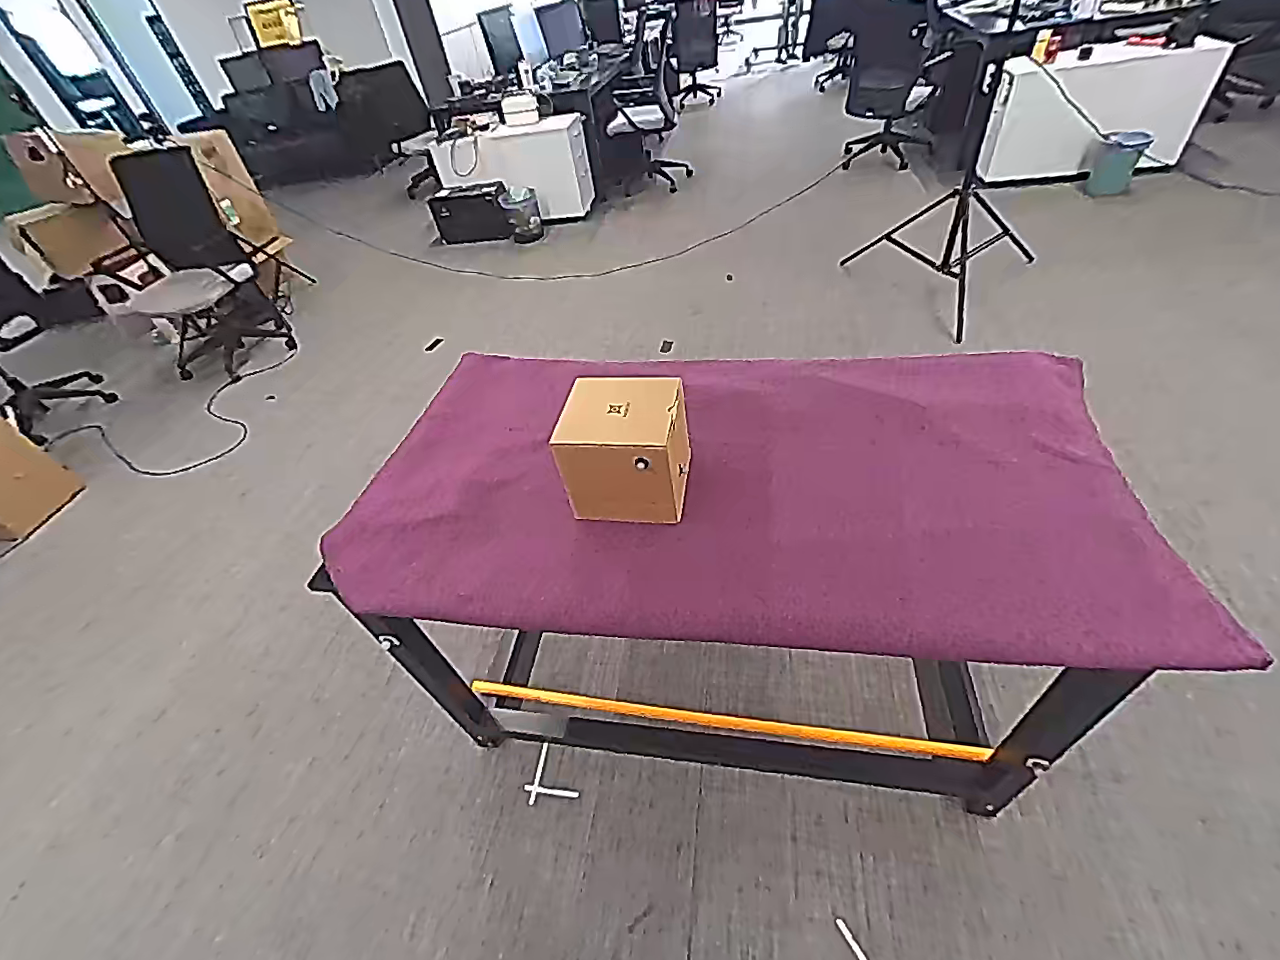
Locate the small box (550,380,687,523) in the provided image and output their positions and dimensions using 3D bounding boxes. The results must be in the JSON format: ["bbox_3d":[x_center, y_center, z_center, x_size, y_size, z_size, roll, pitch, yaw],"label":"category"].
[{"bbox_3d":[-0.023,-0.045,0.874,0.179,0.176,0.168,2,45,12],"label":"small box"}]
